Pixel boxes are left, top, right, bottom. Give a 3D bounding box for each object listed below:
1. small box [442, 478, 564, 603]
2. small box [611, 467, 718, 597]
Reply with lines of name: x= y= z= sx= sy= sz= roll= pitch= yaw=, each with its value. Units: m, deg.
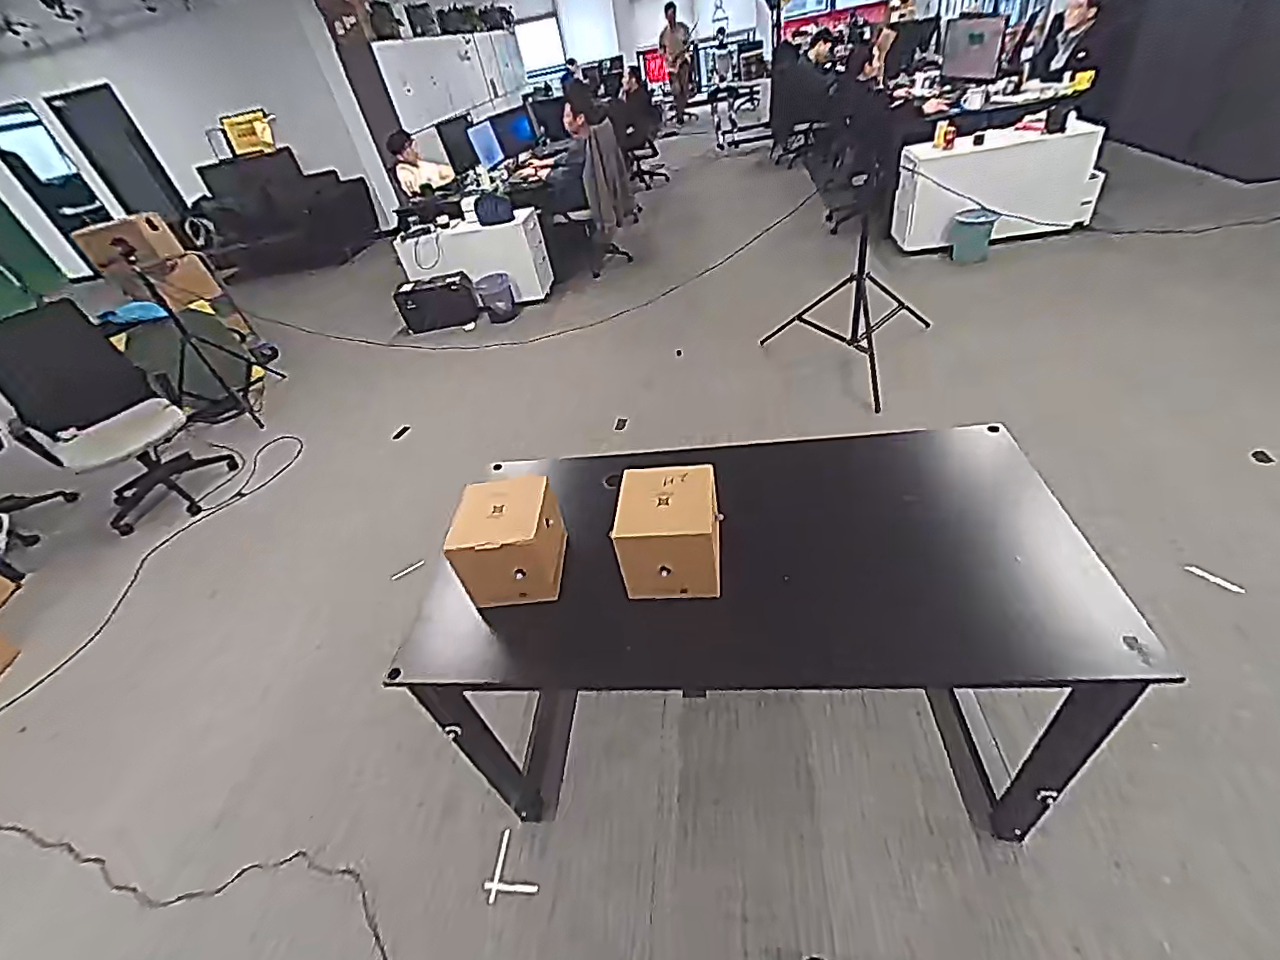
small box: x=-0.249 y=0.122 z=1.036 sx=0.168 sy=0.176 sz=0.179 roll=-6 pitch=39 yaw=5
small box: x=0.053 y=0.098 z=0.983 sx=0.168 sy=0.176 sz=0.179 roll=-3 pitch=40 yaw=10
